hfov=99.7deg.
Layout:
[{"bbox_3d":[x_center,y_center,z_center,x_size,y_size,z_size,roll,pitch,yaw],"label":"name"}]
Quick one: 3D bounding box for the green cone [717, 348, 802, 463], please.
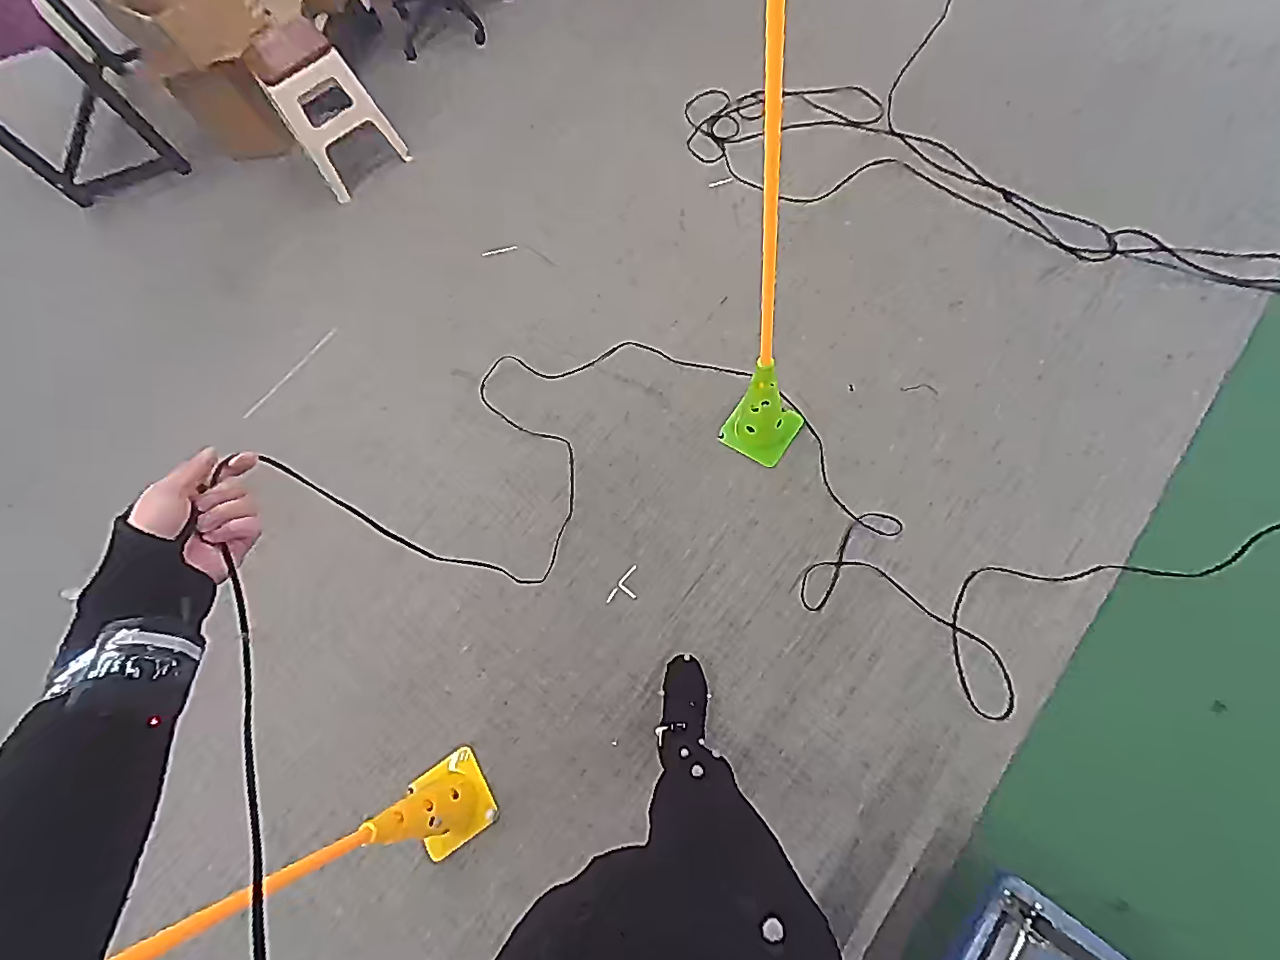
[{"bbox_3d":[0.336,-0.232,1.471,0.200,0.368,0.202,31,75,19],"label":"green cone"}]
